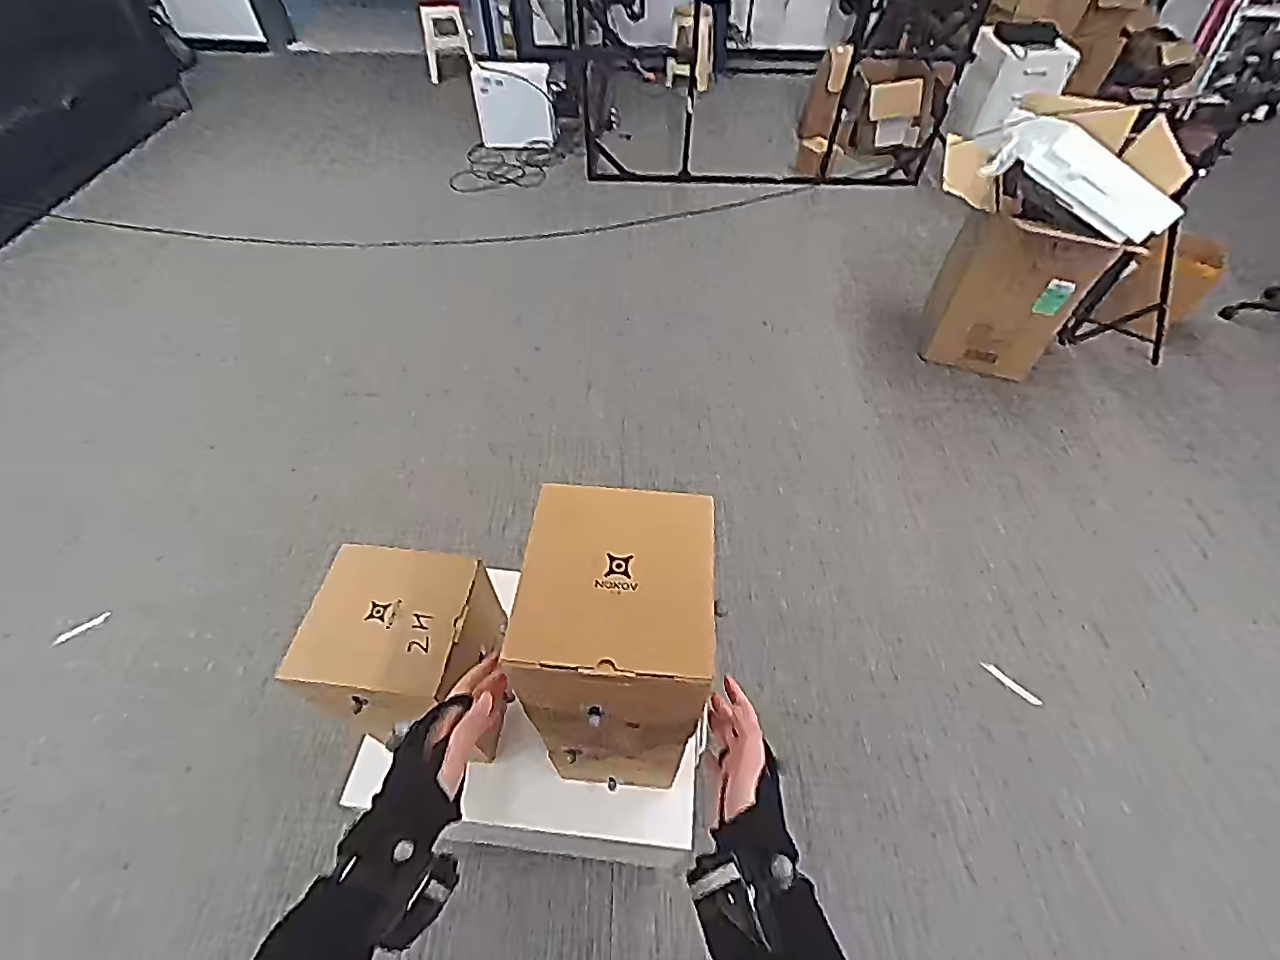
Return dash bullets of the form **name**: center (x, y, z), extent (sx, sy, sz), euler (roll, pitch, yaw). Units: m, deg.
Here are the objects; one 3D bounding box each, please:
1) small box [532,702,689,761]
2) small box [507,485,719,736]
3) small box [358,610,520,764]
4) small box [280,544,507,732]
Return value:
- **small box**: center (-0.021, 0.226, 0.654), extent (0.168, 0.176, 0.179), euler (5, 52, 2)
- **small box**: center (-0.017, 0.129, 0.524), extent (0.168, 0.176, 0.179), euler (5, 53, 2)
- **small box**: center (-0.284, 0.297, 0.801), extent (0.168, 0.176, 0.179), euler (6, 51, 4)
- **small box**: center (-0.282, 0.199, 0.668), extent (0.179, 0.176, 0.168), euler (6, 53, 3)
